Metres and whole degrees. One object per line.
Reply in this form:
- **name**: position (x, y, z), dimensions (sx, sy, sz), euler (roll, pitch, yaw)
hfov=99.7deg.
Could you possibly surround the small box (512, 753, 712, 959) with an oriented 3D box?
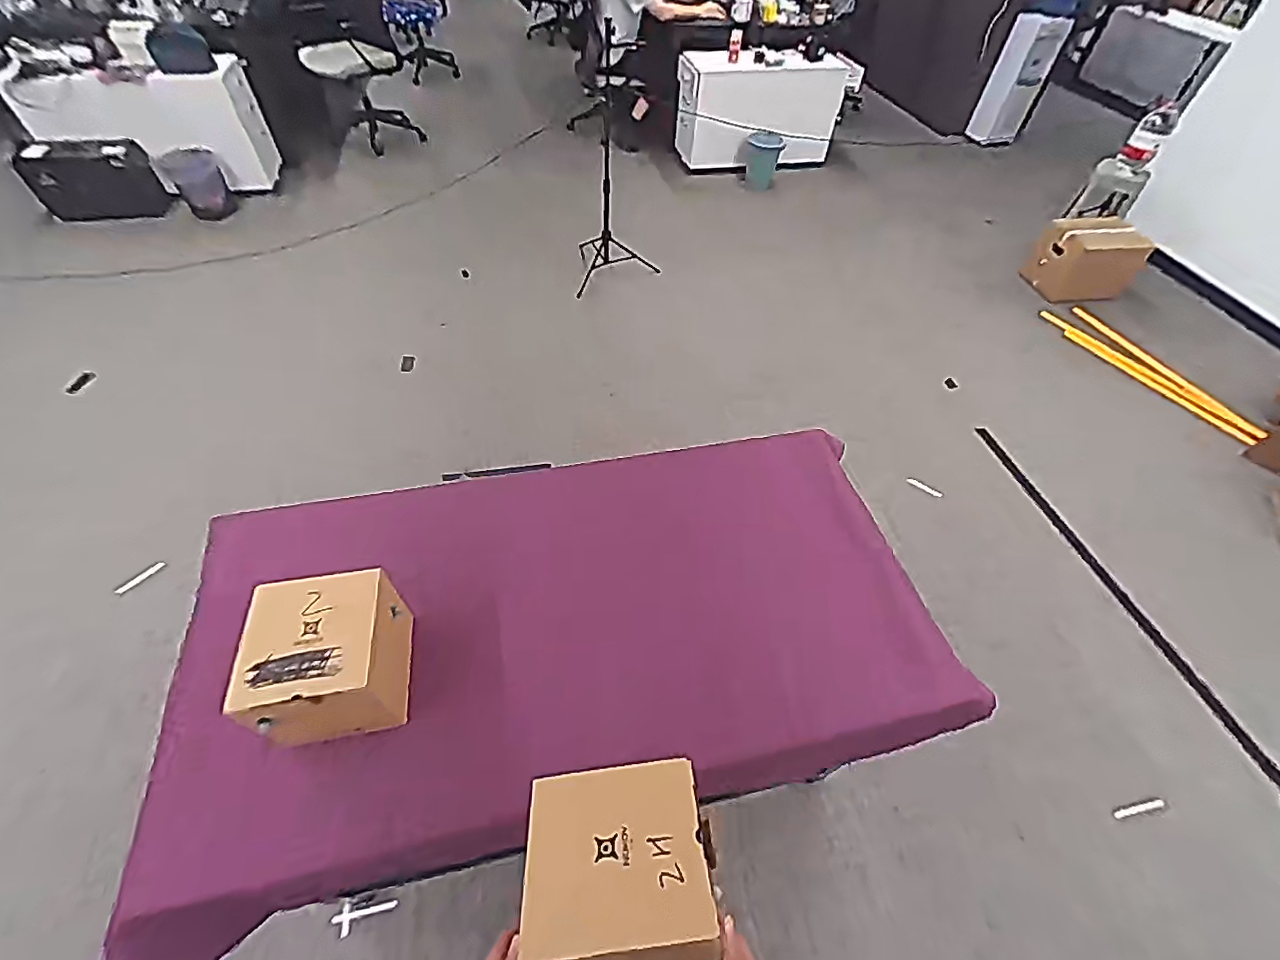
- **small box**: position (-0.022, 0.423, 0.569), dimensions (0.179, 0.176, 0.168), euler (-6, 29, -1)
